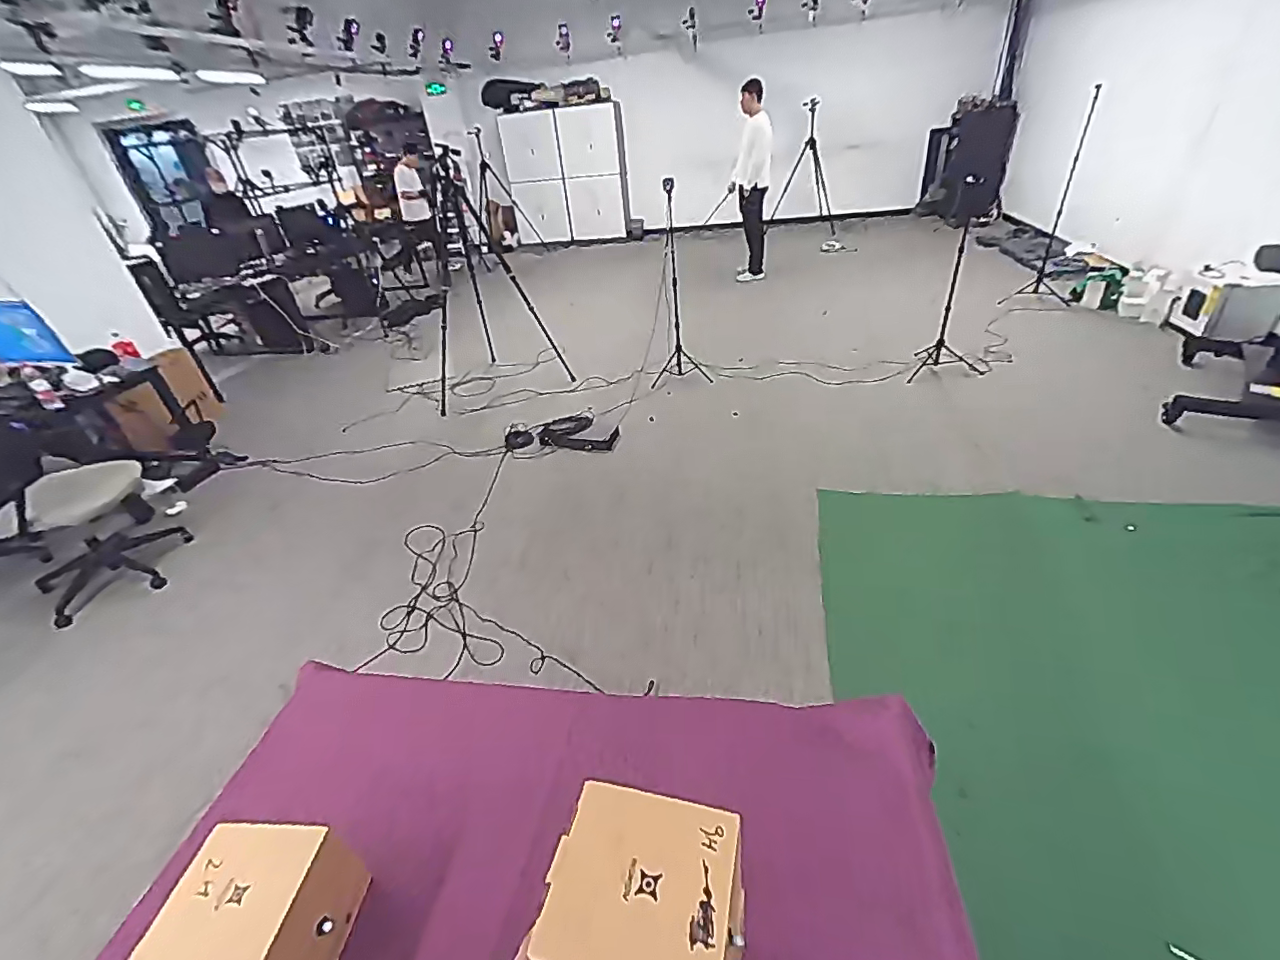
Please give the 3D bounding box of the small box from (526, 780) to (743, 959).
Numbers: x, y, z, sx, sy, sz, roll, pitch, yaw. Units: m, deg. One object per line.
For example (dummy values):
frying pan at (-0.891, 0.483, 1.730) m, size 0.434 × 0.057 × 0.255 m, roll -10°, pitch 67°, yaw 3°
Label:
small box at (0.010, 0.453, 0.564) m, size 0.179 × 0.176 × 0.168 m, roll 4°, pitch 35°, yaw 17°

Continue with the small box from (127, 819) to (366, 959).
small box at (-0.514, 0.594, 0.739) m, size 0.179 × 0.176 × 0.168 m, roll -2°, pitch 34°, yaw 7°
